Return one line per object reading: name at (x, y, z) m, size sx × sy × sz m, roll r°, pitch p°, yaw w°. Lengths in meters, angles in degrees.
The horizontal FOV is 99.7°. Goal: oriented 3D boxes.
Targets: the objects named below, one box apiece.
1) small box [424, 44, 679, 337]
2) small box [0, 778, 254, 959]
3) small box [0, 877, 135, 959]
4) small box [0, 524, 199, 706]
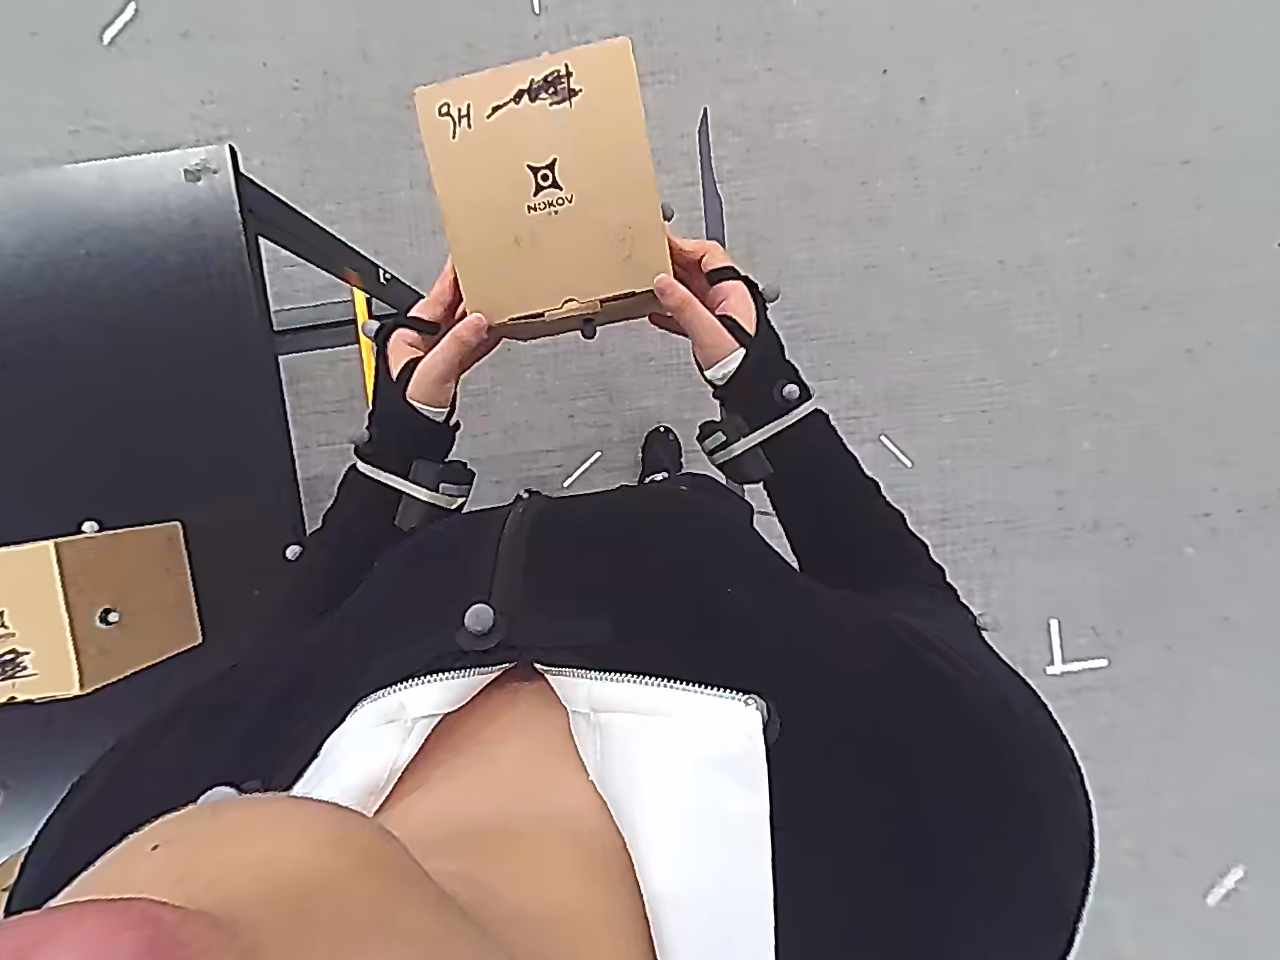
small box at (-0.059, -0.230, 0.483) m, size 0.168 × 0.176 × 0.179 m, roll -11°, pitch 102°, yaw 5°
small box at (-0.656, 0.520, 0.708) m, size 0.179 × 0.176 × 0.168 m, roll -4°, pitch 95°, yaw 0°
small box at (-0.663, 0.537, 0.543) m, size 0.168 × 0.176 × 0.179 m, roll -4°, pitch 95°, yaw 1°
small box at (-0.708, 0.161, 0.683) m, size 0.168 × 0.176 × 0.179 m, roll -8°, pitch 93°, yaw 1°
